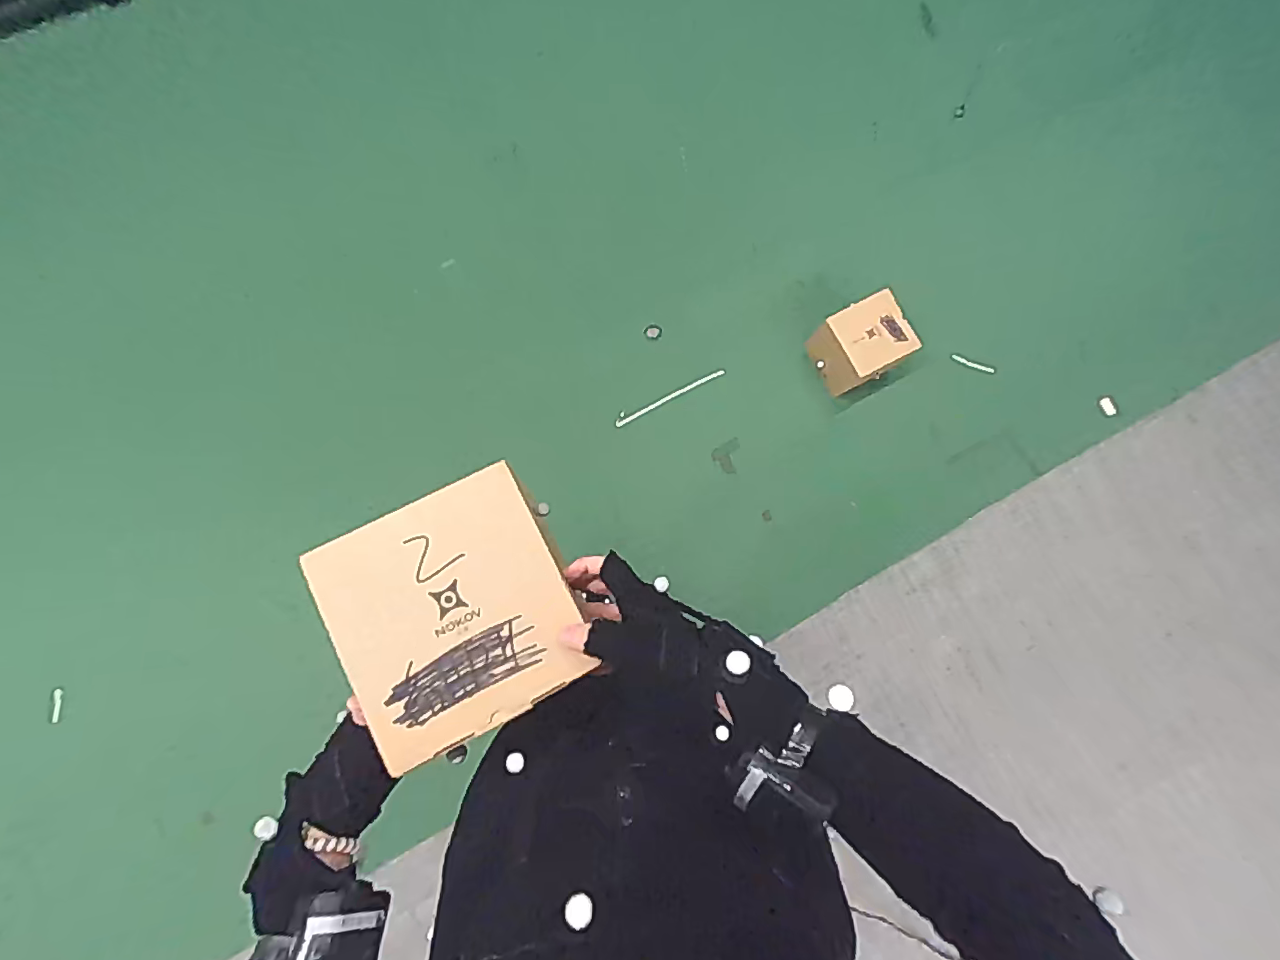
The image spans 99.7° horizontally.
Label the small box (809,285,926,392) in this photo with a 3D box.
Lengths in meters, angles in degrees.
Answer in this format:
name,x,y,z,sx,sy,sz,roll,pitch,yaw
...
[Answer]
name,x,y,z,sx,sy,sz,roll,pitch,yaw
small box,0.551,-0.341,1.334,0.179,0.176,0.168,-27,84,-4
